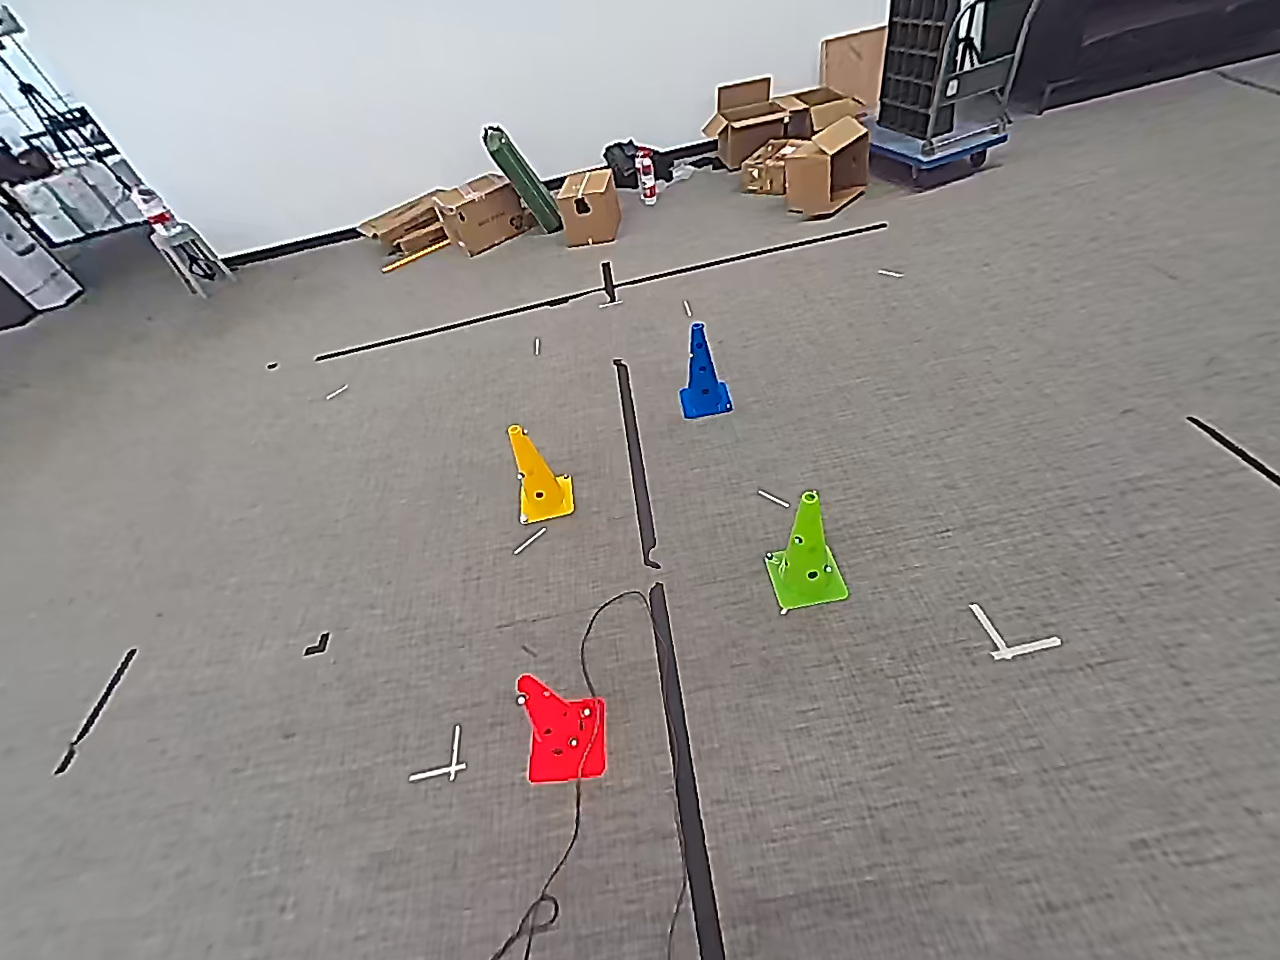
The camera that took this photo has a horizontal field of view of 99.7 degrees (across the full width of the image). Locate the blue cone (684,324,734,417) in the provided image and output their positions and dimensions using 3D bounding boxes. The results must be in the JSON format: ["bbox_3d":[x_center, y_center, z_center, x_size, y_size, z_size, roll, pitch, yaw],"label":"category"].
[{"bbox_3d":[0.259,-0.446,2.149,0.192,0.380,0.193,-8,46,5],"label":"blue cone"}]

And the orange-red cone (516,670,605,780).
[{"bbox_3d":[-0.222,0.553,1.295,0.199,0.360,0.198,-9,44,7],"label":"orange-red cone"}]

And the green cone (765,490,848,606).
[{"bbox_3d":[0.465,0.164,1.493,0.202,0.368,0.200,-11,45,2],"label":"green cone"}]
